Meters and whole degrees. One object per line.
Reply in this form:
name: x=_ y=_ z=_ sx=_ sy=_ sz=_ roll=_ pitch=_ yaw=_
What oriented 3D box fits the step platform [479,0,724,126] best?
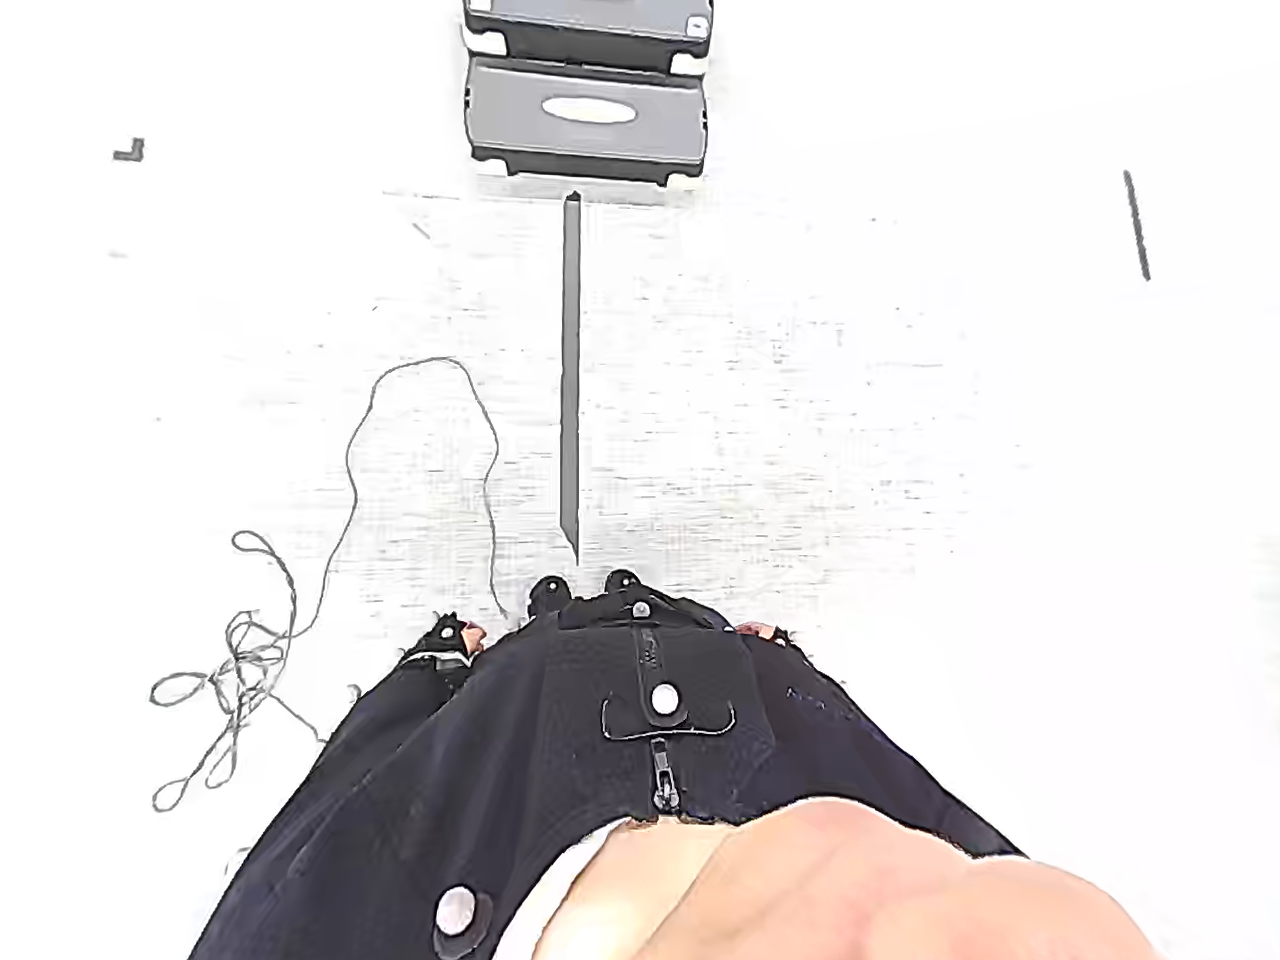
step platform: x=-0.106 y=-1.250 z=1.545 sx=0.684 sy=0.204 sz=0.286 roll=5 pitch=80 yaw=-7
